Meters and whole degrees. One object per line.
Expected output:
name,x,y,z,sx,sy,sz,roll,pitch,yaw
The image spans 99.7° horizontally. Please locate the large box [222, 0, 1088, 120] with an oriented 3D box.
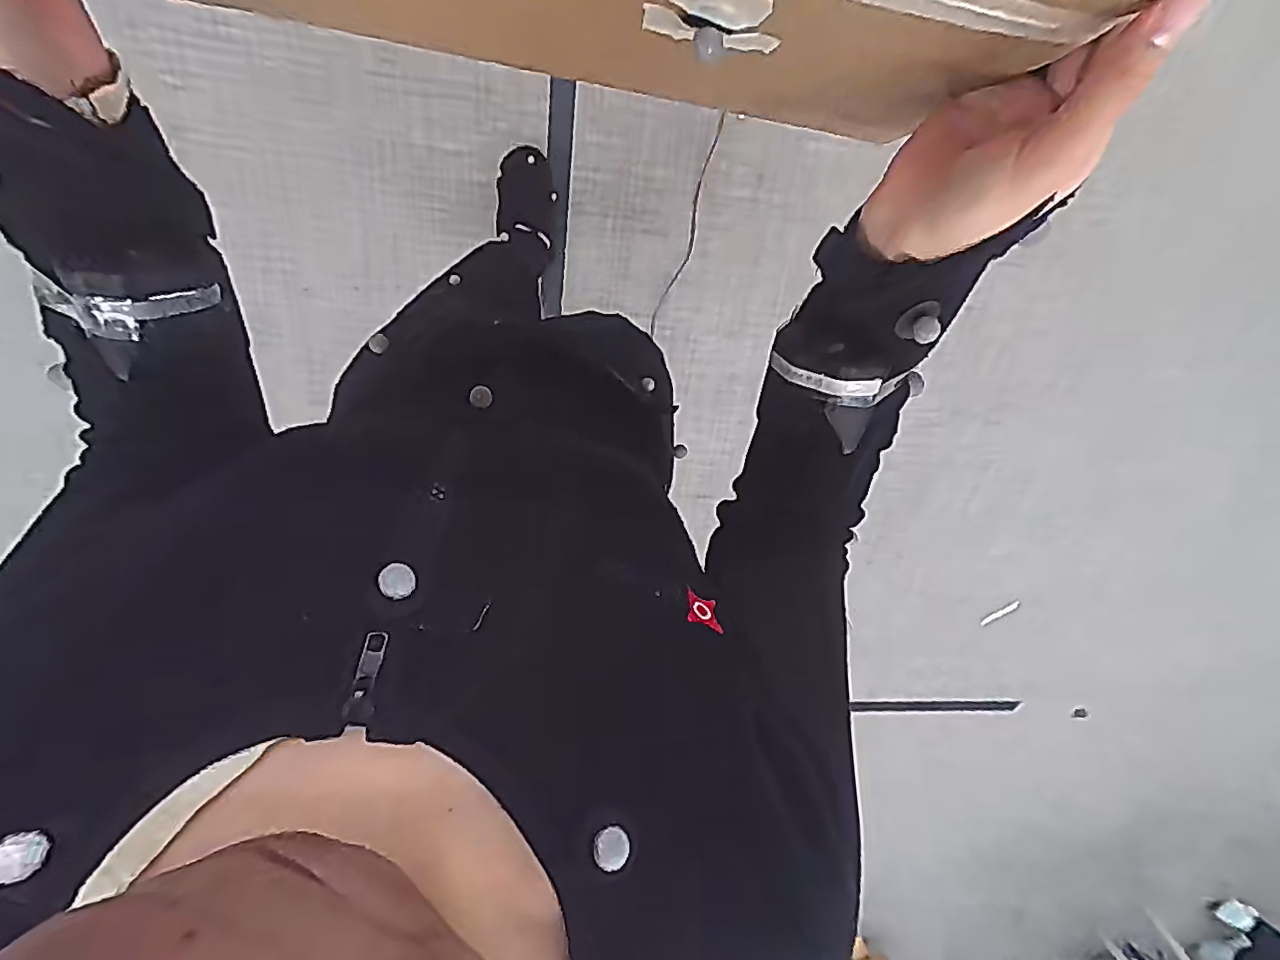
large box,-0.016,-0.335,0.121,0.408,0.320,0.320,5,109,-8
